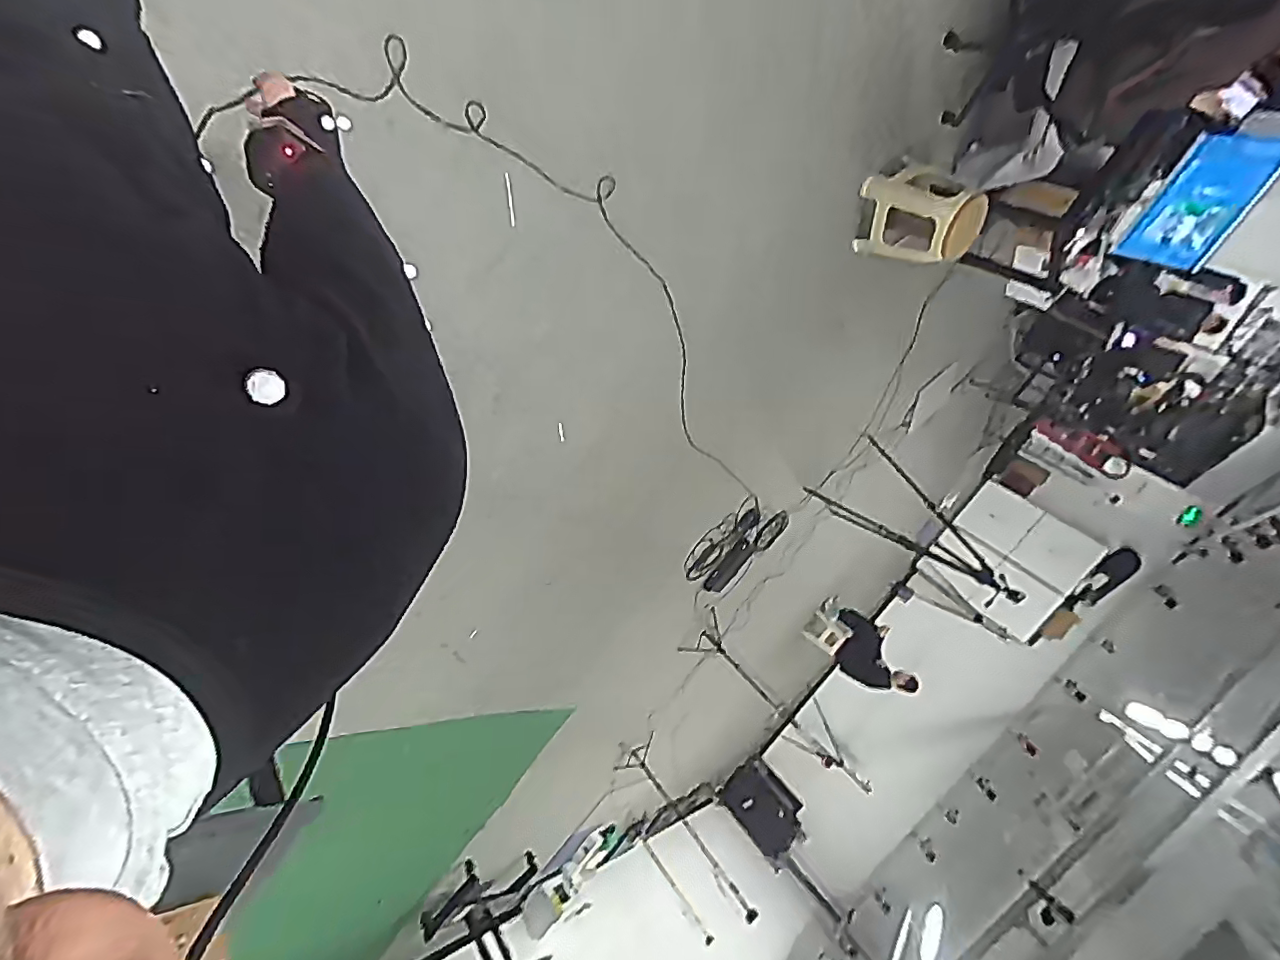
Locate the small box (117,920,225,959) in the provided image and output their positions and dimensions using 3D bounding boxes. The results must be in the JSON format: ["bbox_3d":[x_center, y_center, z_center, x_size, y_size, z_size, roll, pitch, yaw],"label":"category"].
[{"bbox_3d":[-1.030,1.099,1.162,0.179,0.176,0.168,-55,144,7],"label":"small box"}]
